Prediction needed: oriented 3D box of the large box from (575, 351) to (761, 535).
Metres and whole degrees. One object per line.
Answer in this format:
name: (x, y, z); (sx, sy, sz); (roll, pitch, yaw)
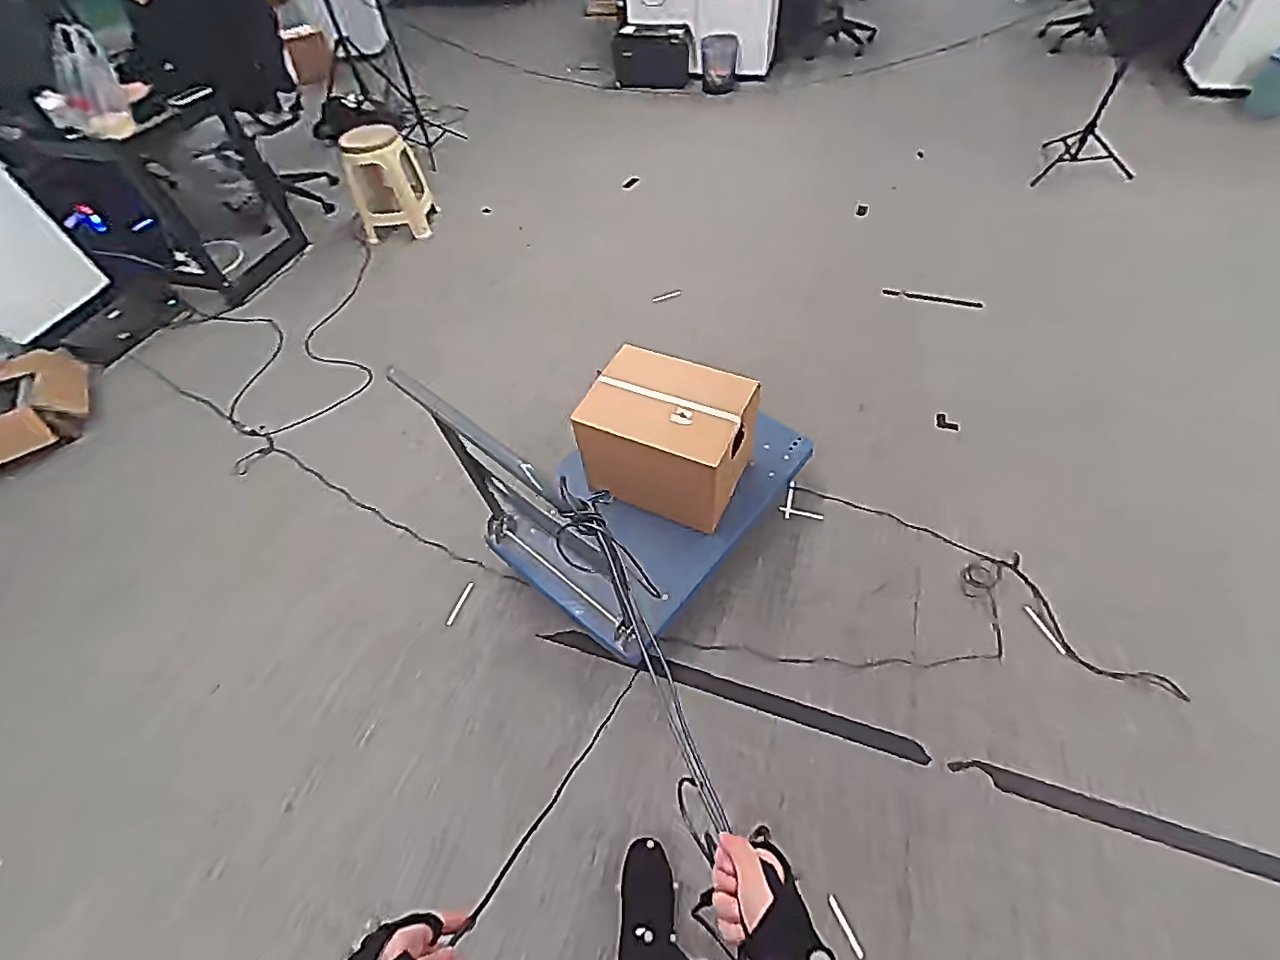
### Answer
large box: (0.080, -0.103, 1.508); (0.408, 0.320, 0.320); (20, 58, 18)
